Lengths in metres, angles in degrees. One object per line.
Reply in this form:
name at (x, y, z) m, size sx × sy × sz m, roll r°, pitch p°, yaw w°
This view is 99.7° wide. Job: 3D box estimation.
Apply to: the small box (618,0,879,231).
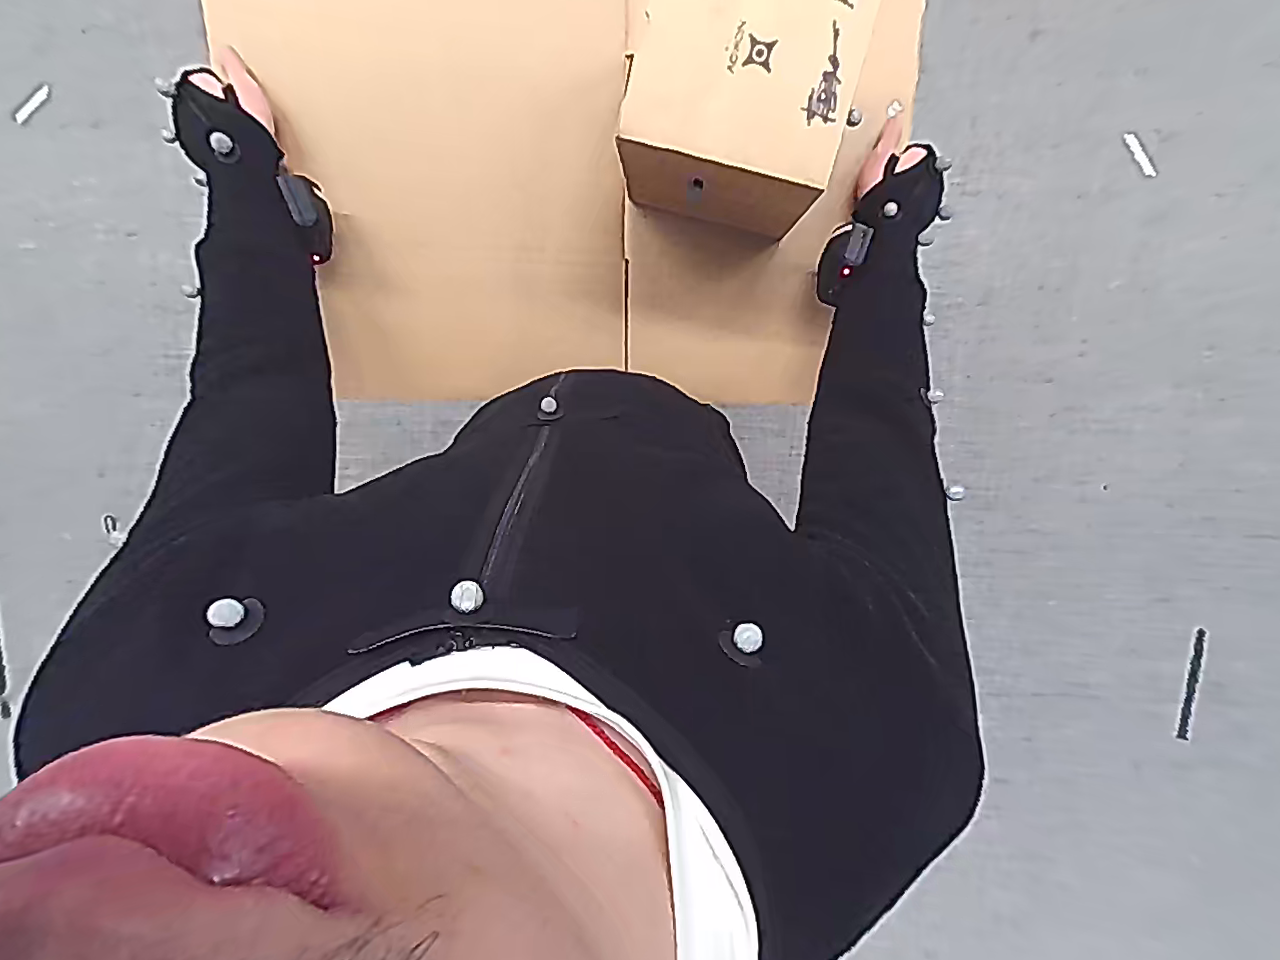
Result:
small box at (0.090, -0.349, 0.498) m, size 0.179 × 0.176 × 0.168 m, roll 15°, pitch 102°, yaw 1°
